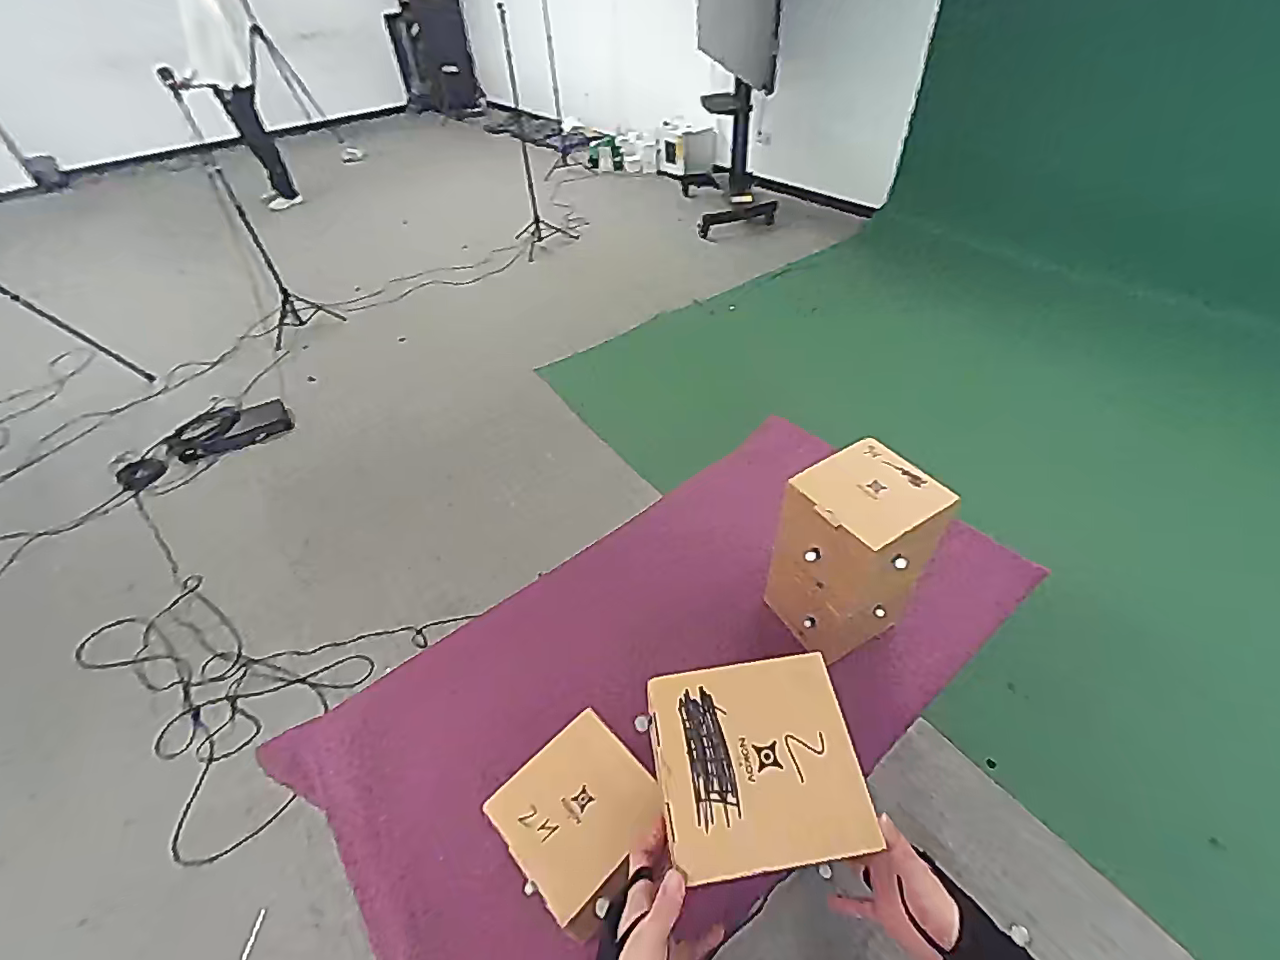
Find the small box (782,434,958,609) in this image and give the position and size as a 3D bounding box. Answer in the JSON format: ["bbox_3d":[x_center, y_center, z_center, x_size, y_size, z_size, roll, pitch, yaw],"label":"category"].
[{"bbox_3d":[0.336,0.066,0.831,0.179,0.176,0.168,-26,50,-18],"label":"small box"}]

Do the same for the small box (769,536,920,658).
[{"bbox_3d":[0.344,0.180,0.949,0.179,0.176,0.168,-22,48,-17],"label":"small box"}]

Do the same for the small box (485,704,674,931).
[{"bbox_3d":[-0.073,0.445,0.716,0.179,0.176,0.168,-36,53,-27],"label":"small box"}]
